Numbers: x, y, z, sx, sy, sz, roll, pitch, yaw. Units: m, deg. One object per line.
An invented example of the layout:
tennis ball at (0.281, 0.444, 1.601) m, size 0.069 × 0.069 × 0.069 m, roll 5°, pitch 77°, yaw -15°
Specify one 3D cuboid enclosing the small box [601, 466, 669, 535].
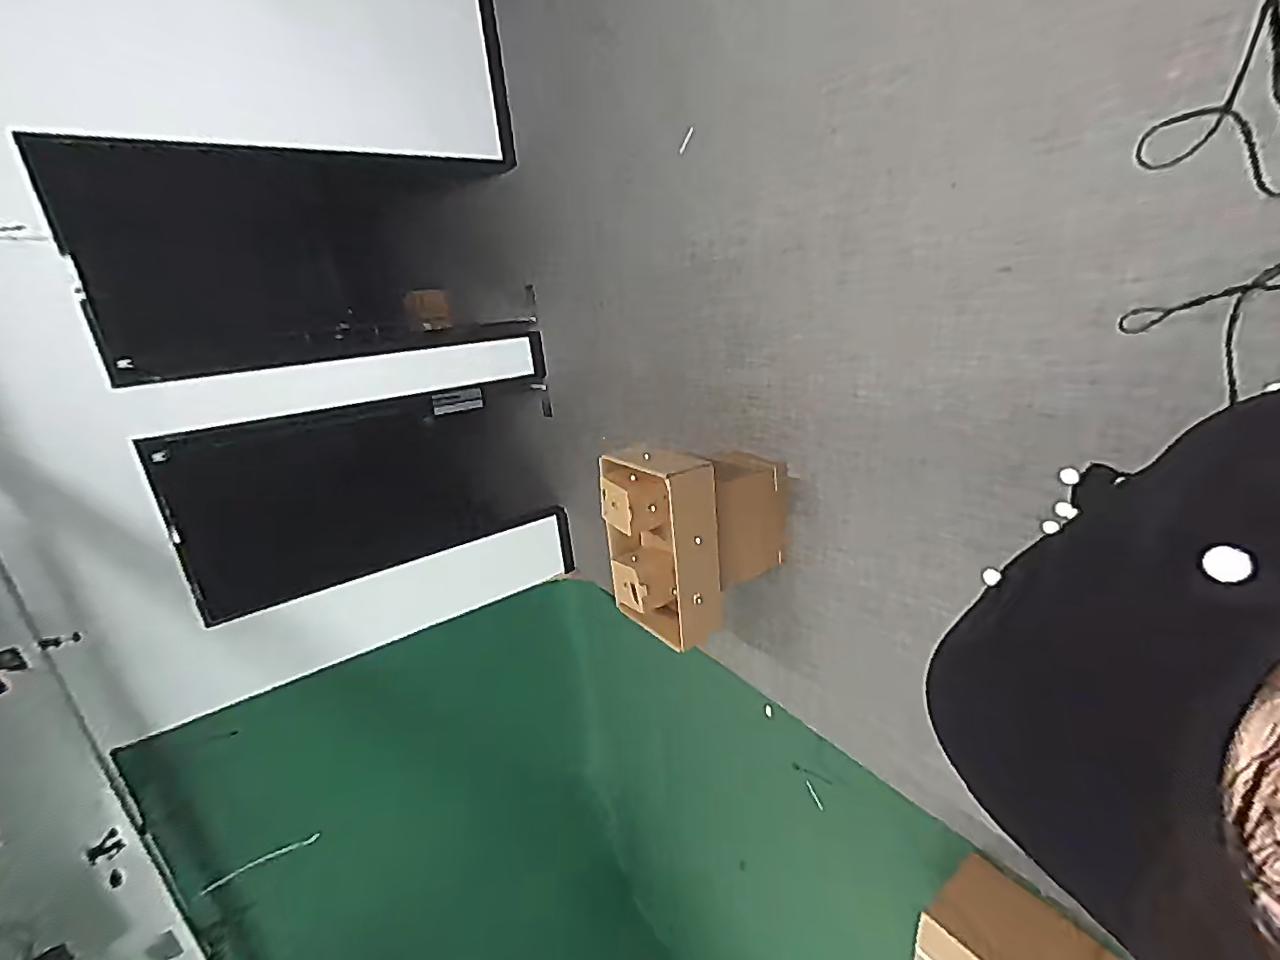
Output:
small box at (-0.015, 0.064, 1.863) m, size 0.179 × 0.176 × 0.168 m, roll 28°, pitch 127°, yaw 47°
